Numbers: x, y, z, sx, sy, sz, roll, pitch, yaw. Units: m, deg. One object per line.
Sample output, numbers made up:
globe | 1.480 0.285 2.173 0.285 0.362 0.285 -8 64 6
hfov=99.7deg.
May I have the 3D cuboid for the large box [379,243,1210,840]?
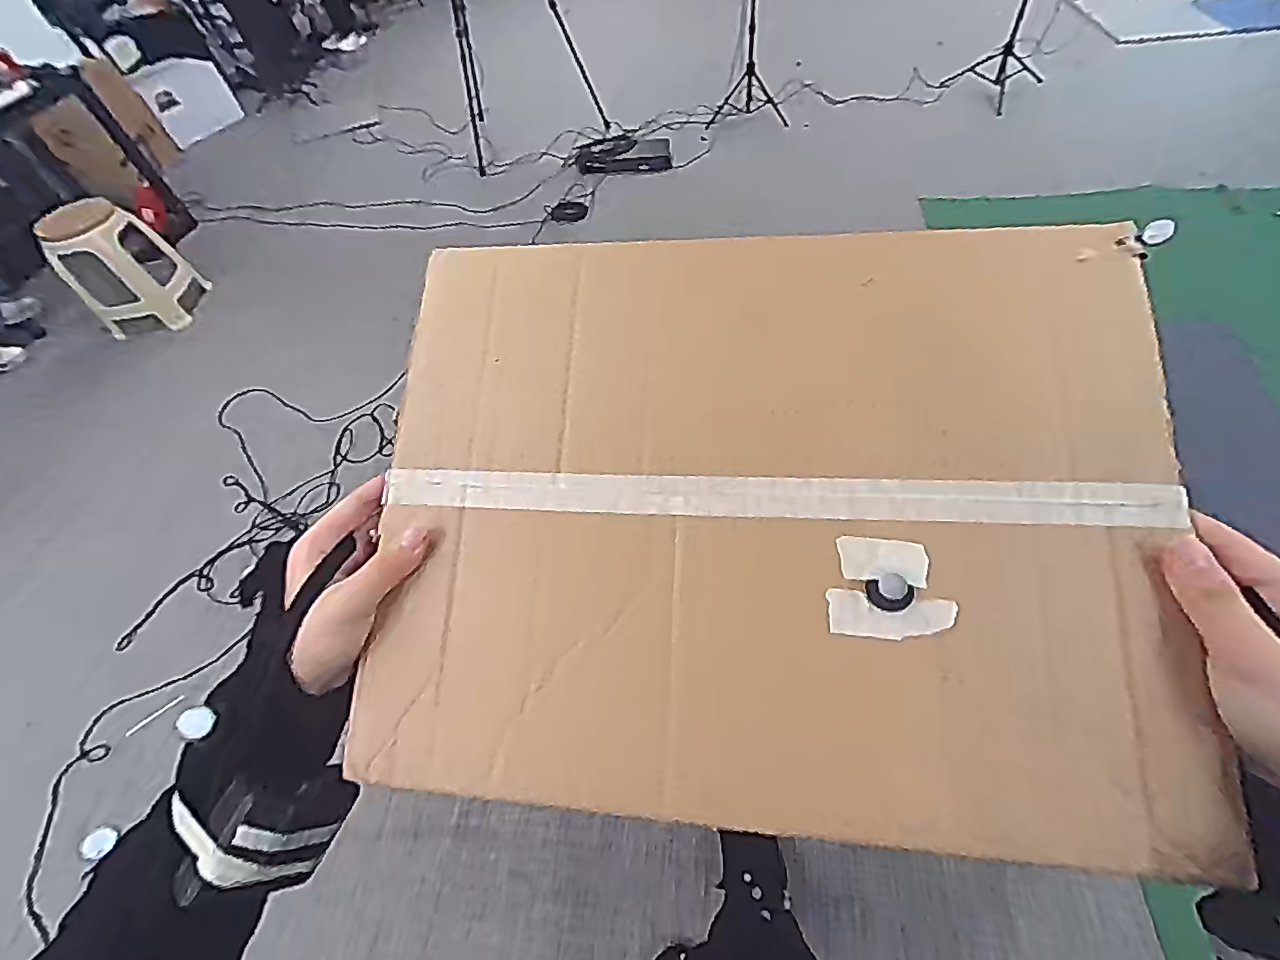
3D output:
large box | 0.079 0.045 0.440 0.408 0.320 0.320 2 77 7
